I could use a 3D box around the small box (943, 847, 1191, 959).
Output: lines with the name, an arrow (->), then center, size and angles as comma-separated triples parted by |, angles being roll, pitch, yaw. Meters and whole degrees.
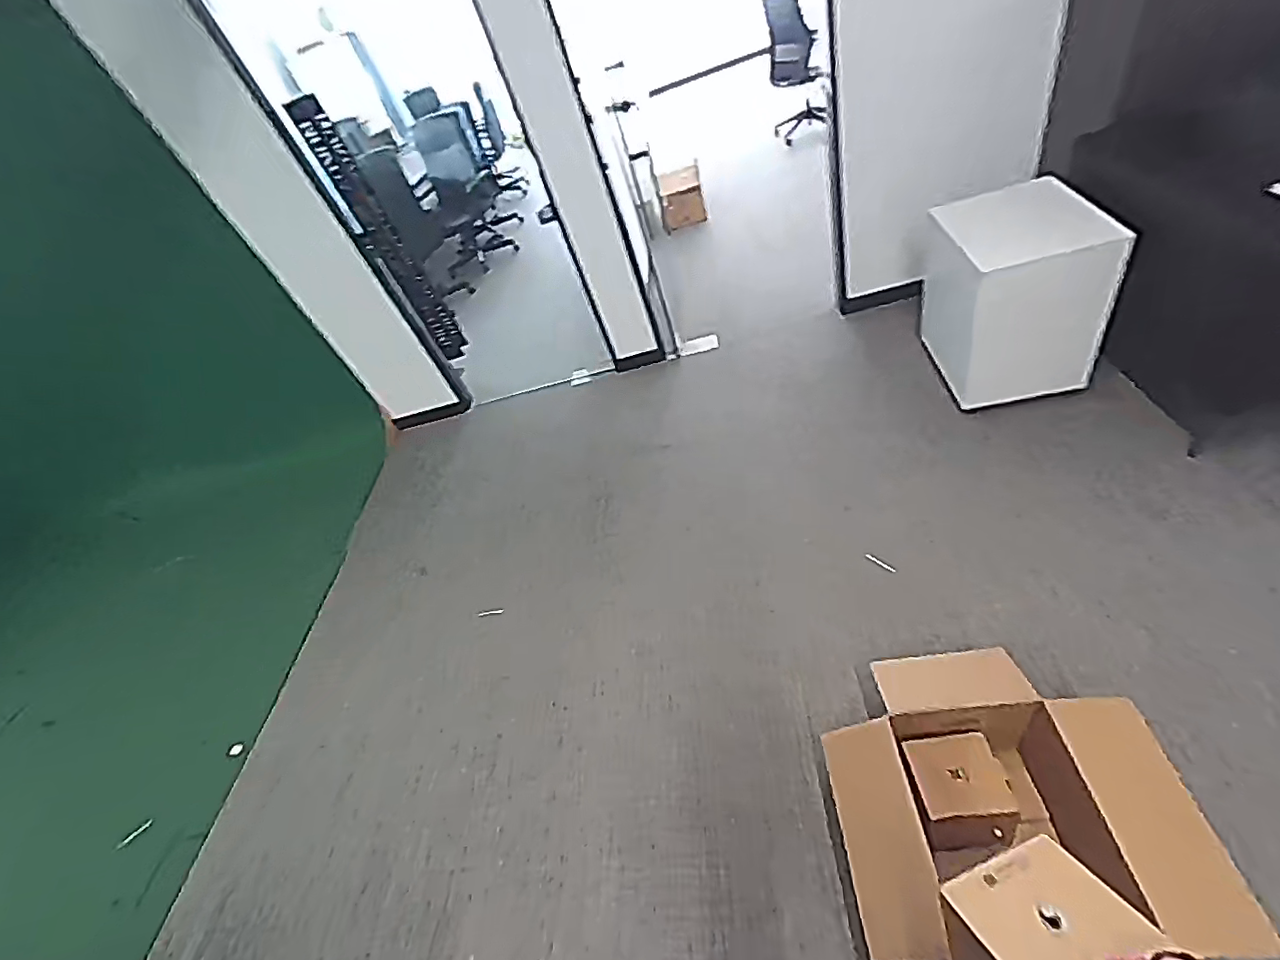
small box -> 0.486, 0.571, 0.624 | 0.168, 0.179, 0.176 | -22, 14, -10
